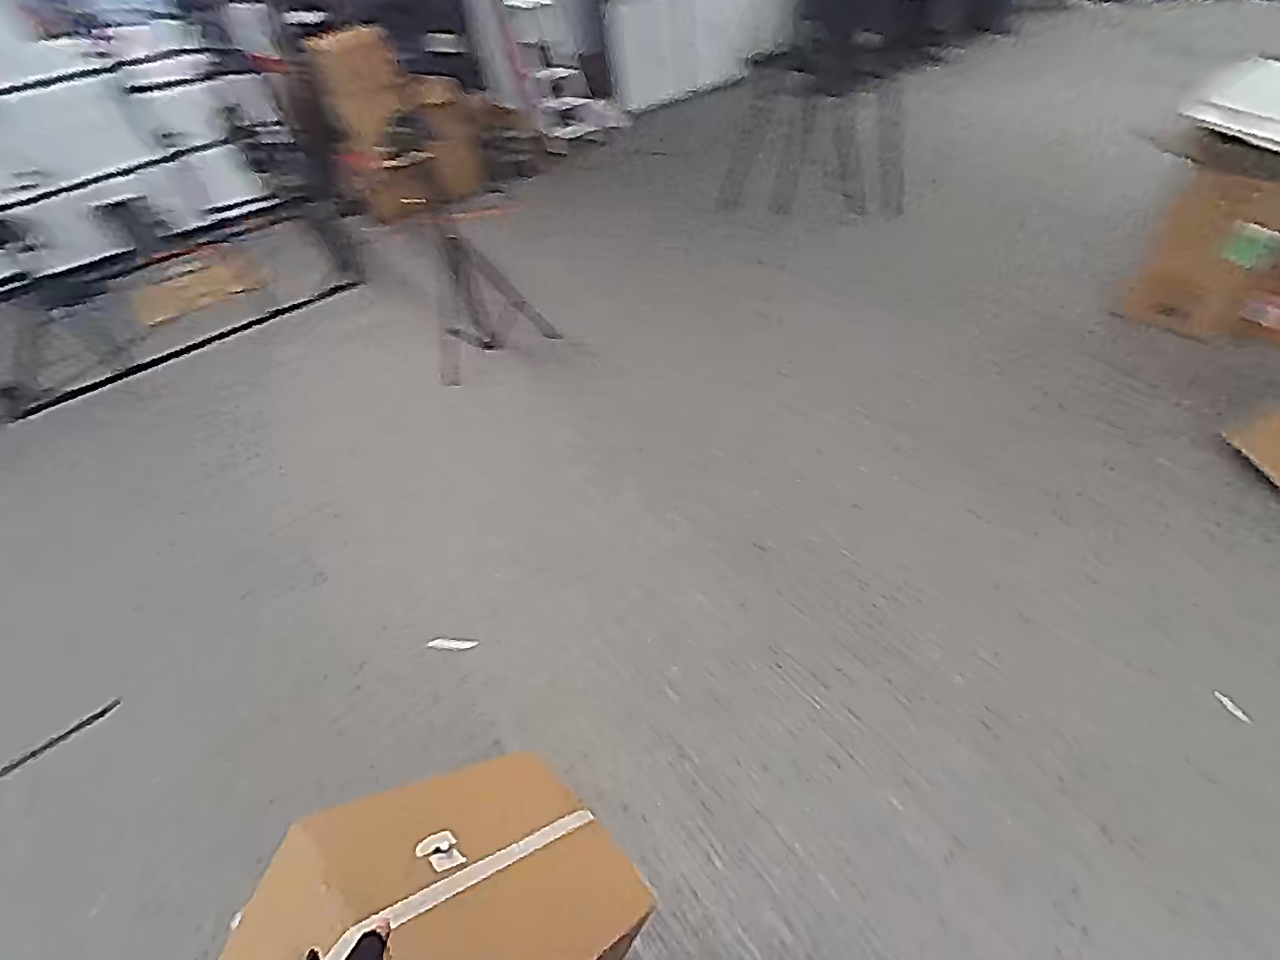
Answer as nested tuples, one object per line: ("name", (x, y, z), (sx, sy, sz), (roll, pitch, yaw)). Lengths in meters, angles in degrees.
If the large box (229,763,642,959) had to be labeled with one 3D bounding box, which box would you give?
("large box", (-0.272, 0.658, 0.718), (0.320, 0.408, 0.320), (31, 96, 33))
